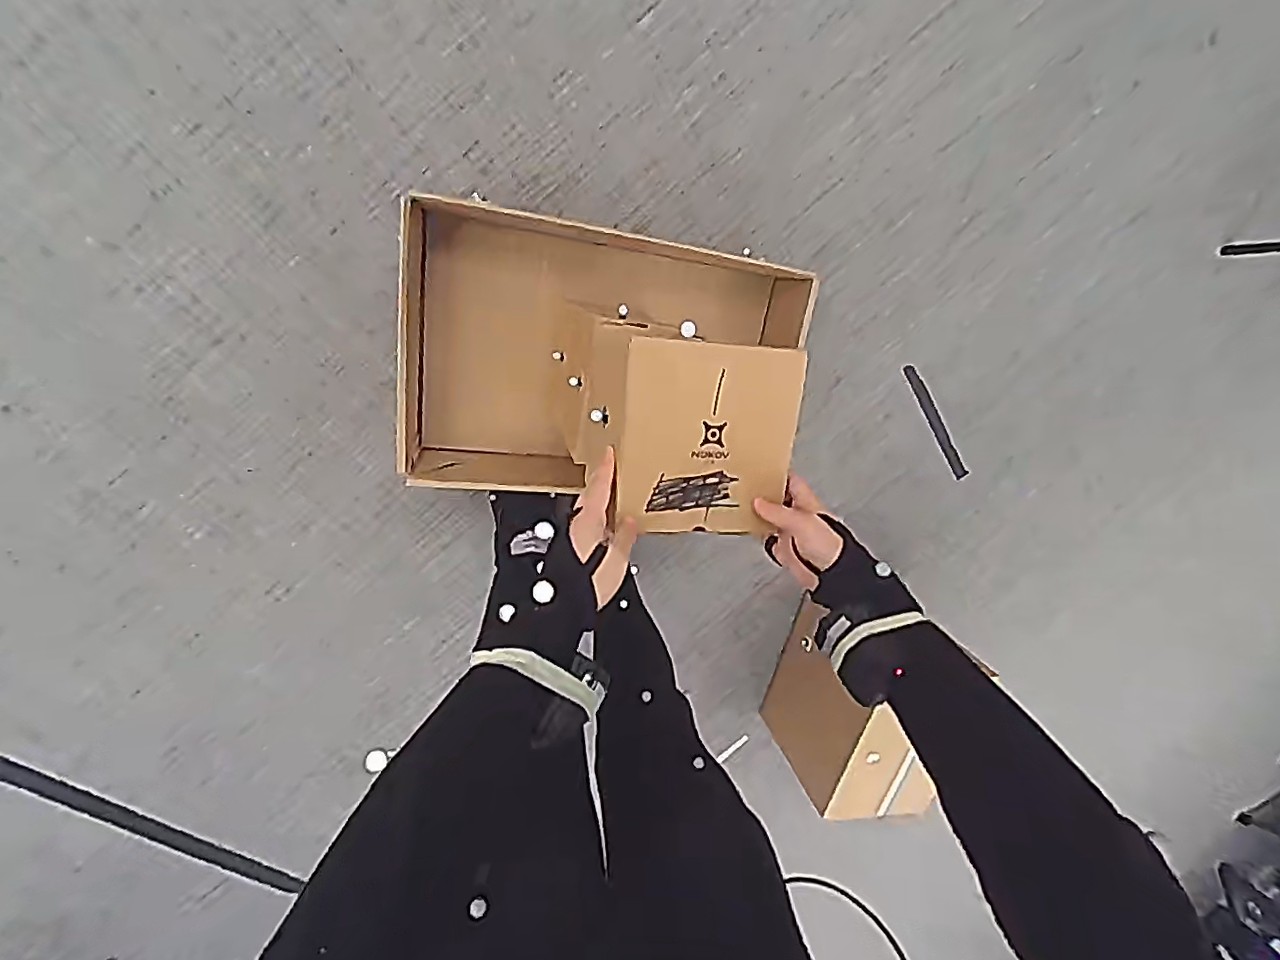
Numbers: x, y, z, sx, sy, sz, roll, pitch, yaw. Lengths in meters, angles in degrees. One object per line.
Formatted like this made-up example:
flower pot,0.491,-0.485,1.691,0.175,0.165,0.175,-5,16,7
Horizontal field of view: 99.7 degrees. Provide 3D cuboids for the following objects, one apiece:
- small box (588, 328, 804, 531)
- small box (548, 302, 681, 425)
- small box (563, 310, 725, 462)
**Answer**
small box,0.042,-0.058,0.559,0.168,0.176,0.179,1,105,-15
small box,-0.049,-0.182,0.875,0.168,0.176,0.179,7,109,-18
small box,-0.006,-0.125,0.729,0.168,0.176,0.179,5,110,-17
